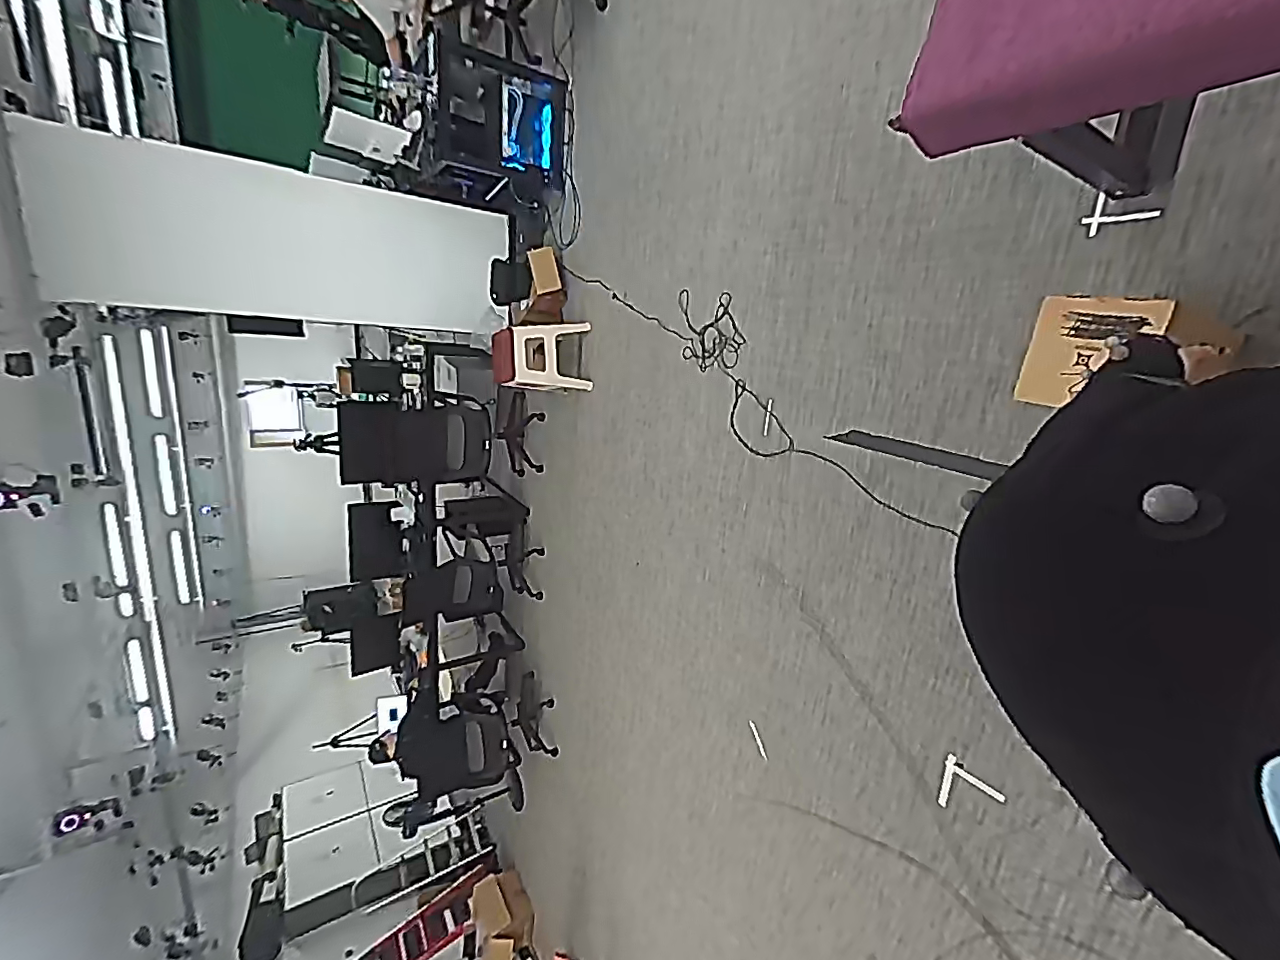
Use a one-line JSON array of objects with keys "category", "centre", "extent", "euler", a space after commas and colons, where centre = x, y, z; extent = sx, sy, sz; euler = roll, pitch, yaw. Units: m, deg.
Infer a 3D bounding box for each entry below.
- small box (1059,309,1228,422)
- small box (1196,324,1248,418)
[{"category": "small box", "centre": [0.903, -0.205, 0.970], "extent": [0.168, 0.176, 0.179], "euler": [27, 117, 52]}, {"category": "small box", "centre": [1.036, -0.224, 1.066], "extent": [0.168, 0.176, 0.179], "euler": [34, 122, 50]}]
